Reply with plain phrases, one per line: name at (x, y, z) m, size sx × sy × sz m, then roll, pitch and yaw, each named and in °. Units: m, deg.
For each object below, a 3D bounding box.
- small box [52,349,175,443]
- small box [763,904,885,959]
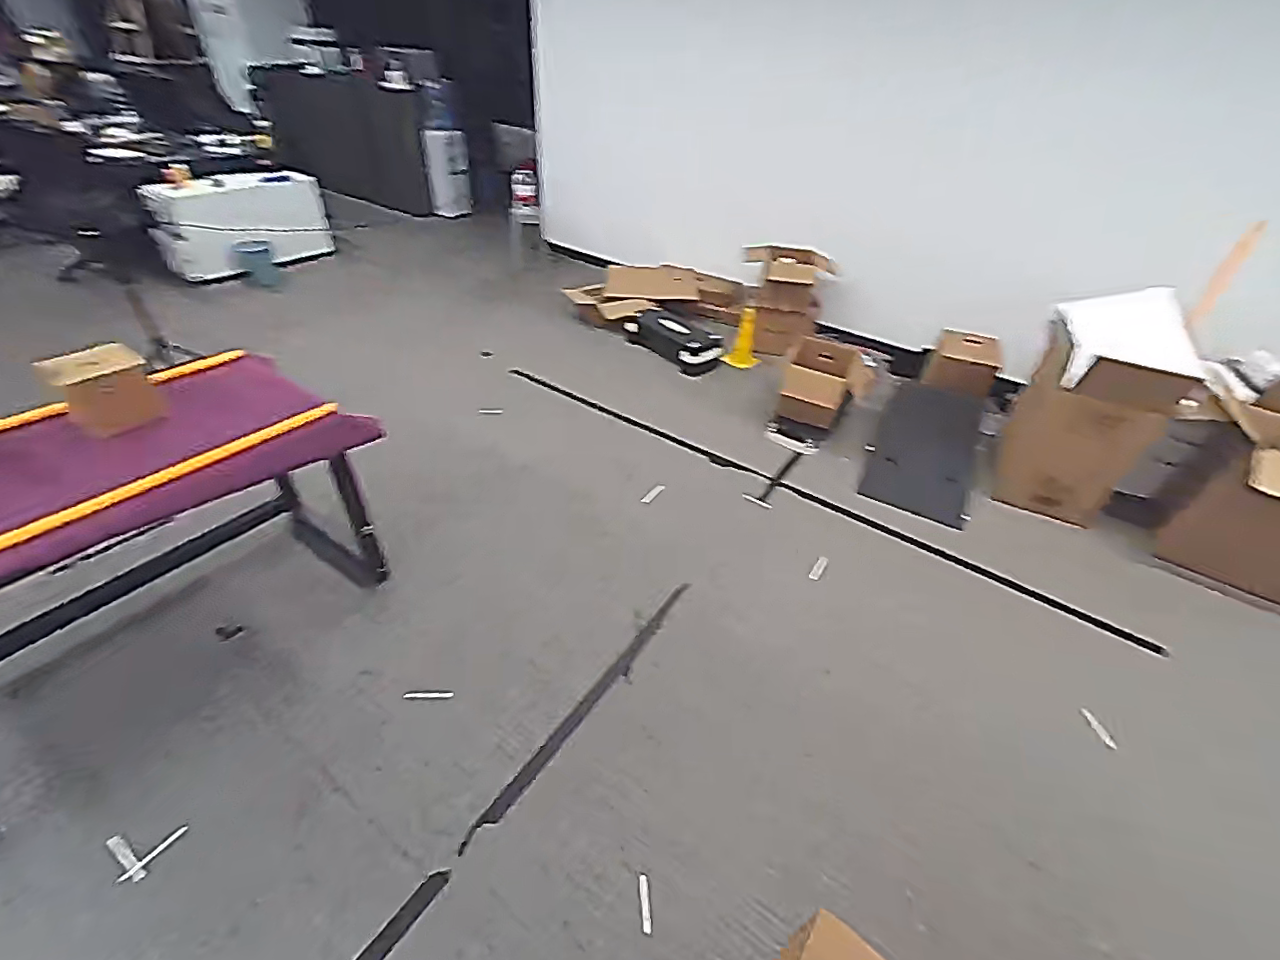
small box at (-1.434, -0.233, 1.489) m, size 0.168 × 0.176 × 0.179 m, roll 28°, pitch 45°, yaw 24°
small box at (0.211, 0.628, 0.592) m, size 0.179 × 0.176 × 0.168 m, roll 31°, pitch 42°, yaw 25°
